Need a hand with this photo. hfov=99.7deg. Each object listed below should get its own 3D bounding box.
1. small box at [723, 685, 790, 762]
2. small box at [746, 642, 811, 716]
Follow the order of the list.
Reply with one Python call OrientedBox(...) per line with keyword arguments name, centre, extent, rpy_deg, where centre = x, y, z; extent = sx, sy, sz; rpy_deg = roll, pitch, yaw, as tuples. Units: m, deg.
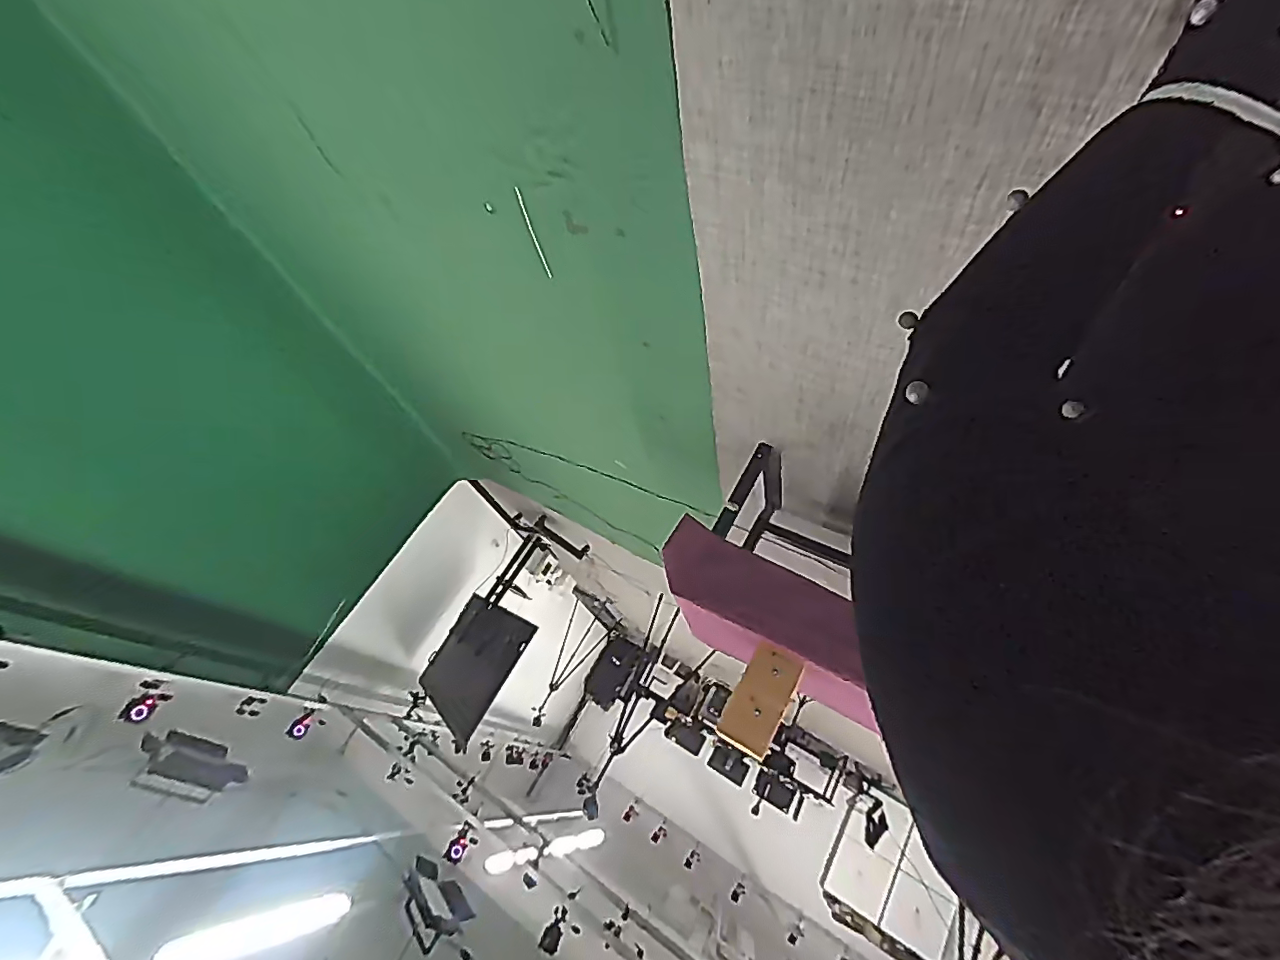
OrientedBox(name="small box", centre=(0.390, 0.810, 1.802), extent=(0.168, 0.176, 0.179), rpy_deg=(23, 157, 24))
OrientedBox(name="small box", centre=(0.475, 0.679, 1.850), extent=(0.168, 0.176, 0.179), rpy_deg=(23, 158, 24))
